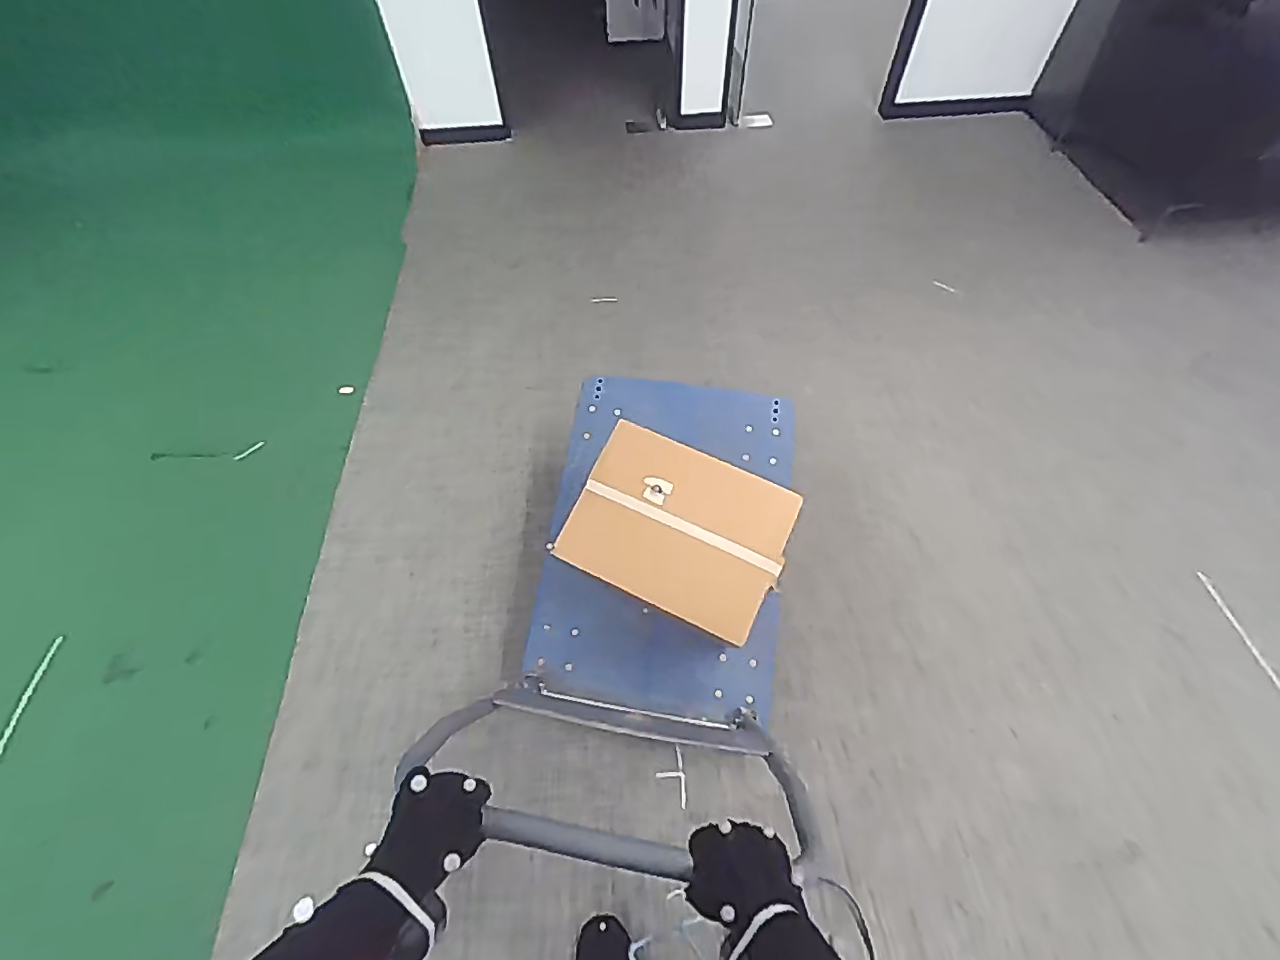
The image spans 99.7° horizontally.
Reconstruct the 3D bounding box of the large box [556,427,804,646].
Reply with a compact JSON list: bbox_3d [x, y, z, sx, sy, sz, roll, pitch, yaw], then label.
[{"bbox_3d":[0.092,0.136,1.185,0.408,0.320,0.320,23,76,12],"label":"large box"}]
